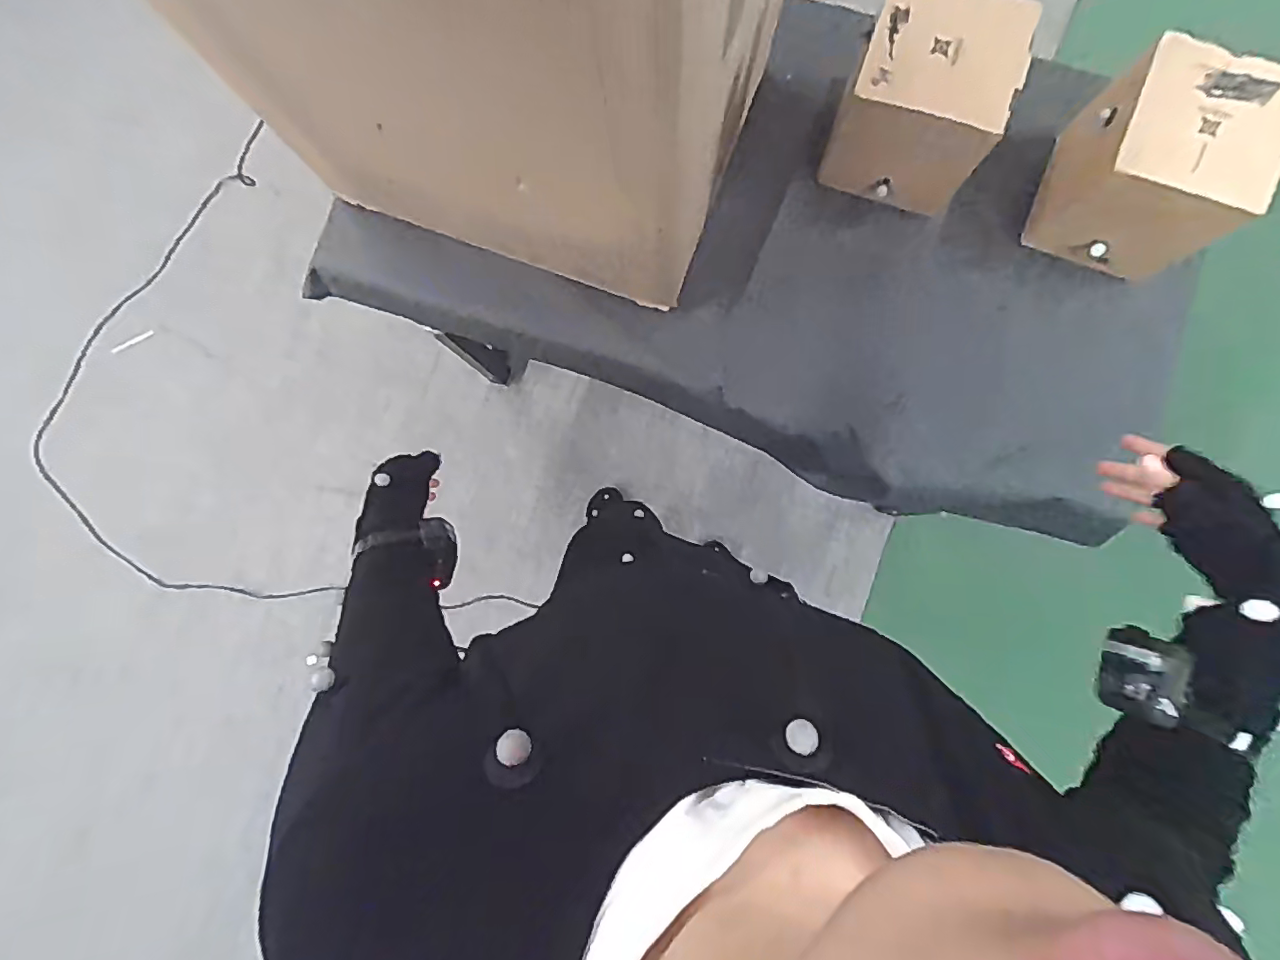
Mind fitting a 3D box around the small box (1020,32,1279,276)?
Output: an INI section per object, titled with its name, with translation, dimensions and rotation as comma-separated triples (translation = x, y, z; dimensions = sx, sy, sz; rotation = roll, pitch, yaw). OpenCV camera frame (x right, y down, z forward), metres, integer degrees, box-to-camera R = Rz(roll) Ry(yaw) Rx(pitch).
[small box]
translation = 0.631, -0.395, 0.684
dimensions = 0.168, 0.176, 0.179
rotation = 22, 88, 4
